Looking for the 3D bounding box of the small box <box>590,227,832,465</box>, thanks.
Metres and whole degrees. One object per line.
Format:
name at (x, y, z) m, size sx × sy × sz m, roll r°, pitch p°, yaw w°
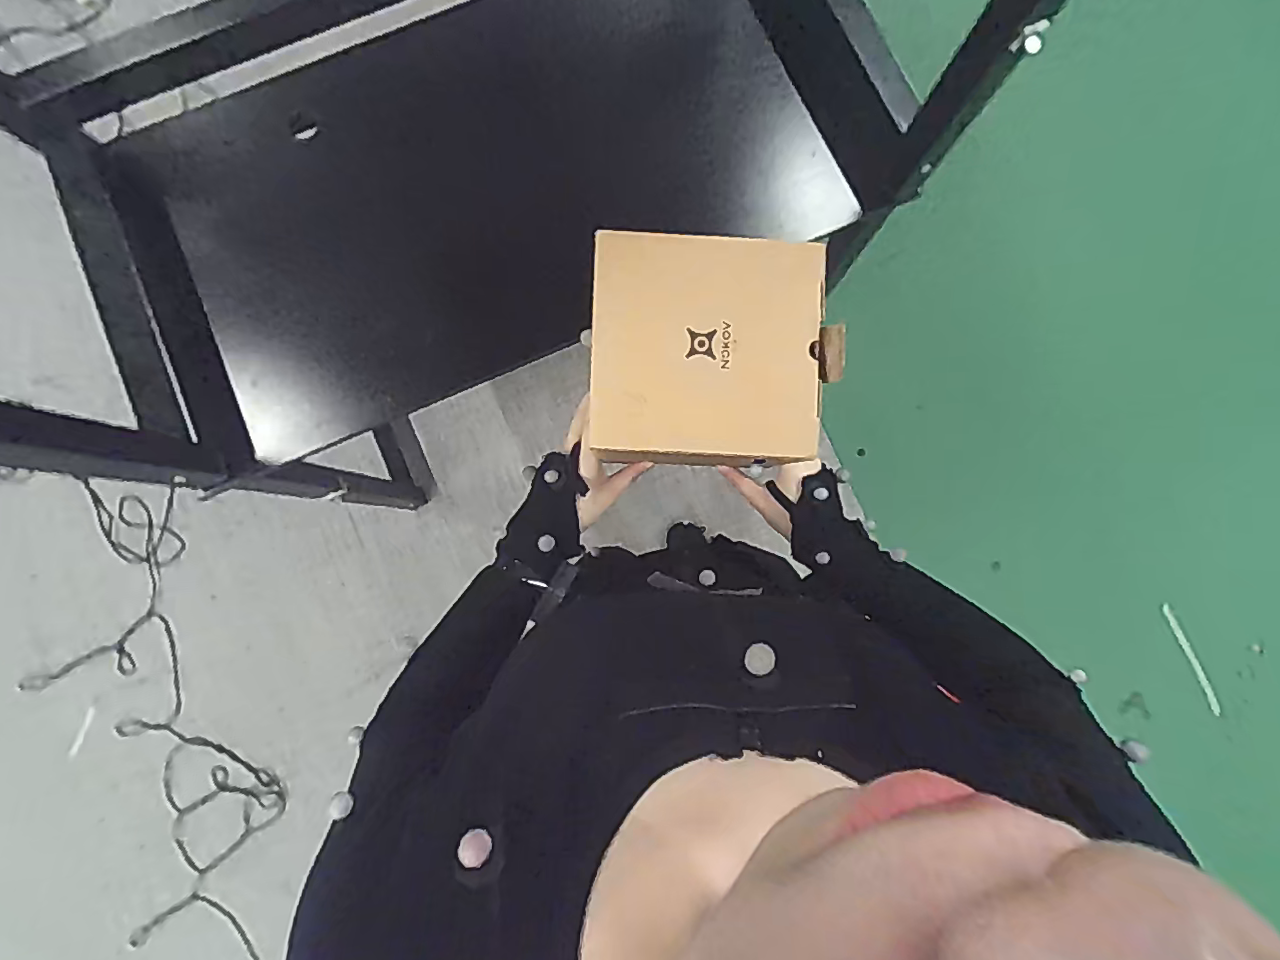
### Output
small box at (0.052, -0.101, 0.483) m, size 0.179 × 0.176 × 0.168 m, roll 3°, pitch 89°, yaw -2°
